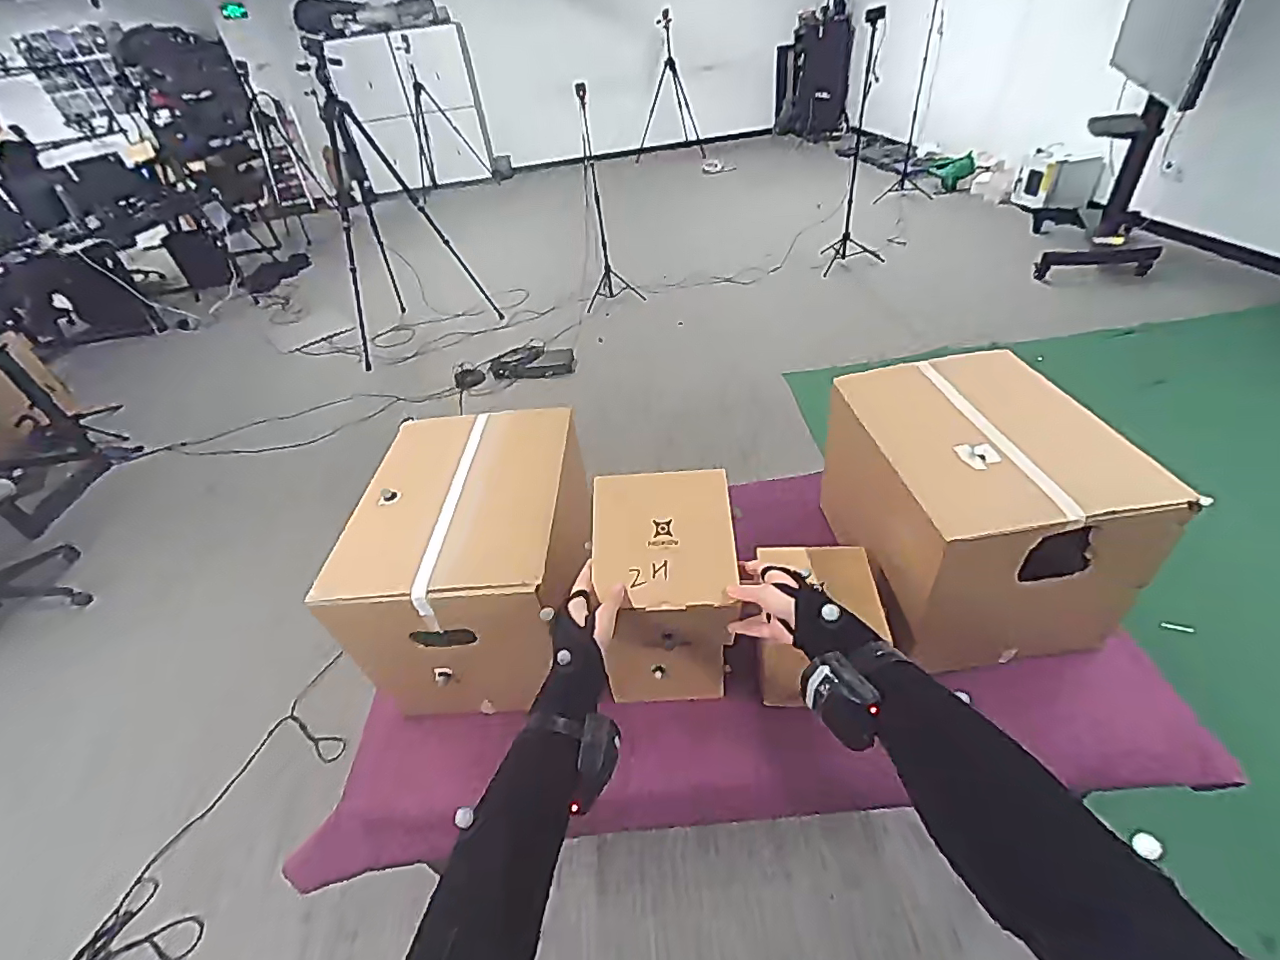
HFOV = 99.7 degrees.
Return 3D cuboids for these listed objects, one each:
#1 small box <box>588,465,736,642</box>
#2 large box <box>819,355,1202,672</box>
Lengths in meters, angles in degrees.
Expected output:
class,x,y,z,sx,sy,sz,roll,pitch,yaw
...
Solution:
class,x,y,z,sx,sy,sz,roll,pitch,yaw
small box,0.030,0.099,0.699,0.168,0.176,0.179,-3,59,4
large box,0.523,0.042,0.892,0.320,0.320,0.408,-10,40,2
